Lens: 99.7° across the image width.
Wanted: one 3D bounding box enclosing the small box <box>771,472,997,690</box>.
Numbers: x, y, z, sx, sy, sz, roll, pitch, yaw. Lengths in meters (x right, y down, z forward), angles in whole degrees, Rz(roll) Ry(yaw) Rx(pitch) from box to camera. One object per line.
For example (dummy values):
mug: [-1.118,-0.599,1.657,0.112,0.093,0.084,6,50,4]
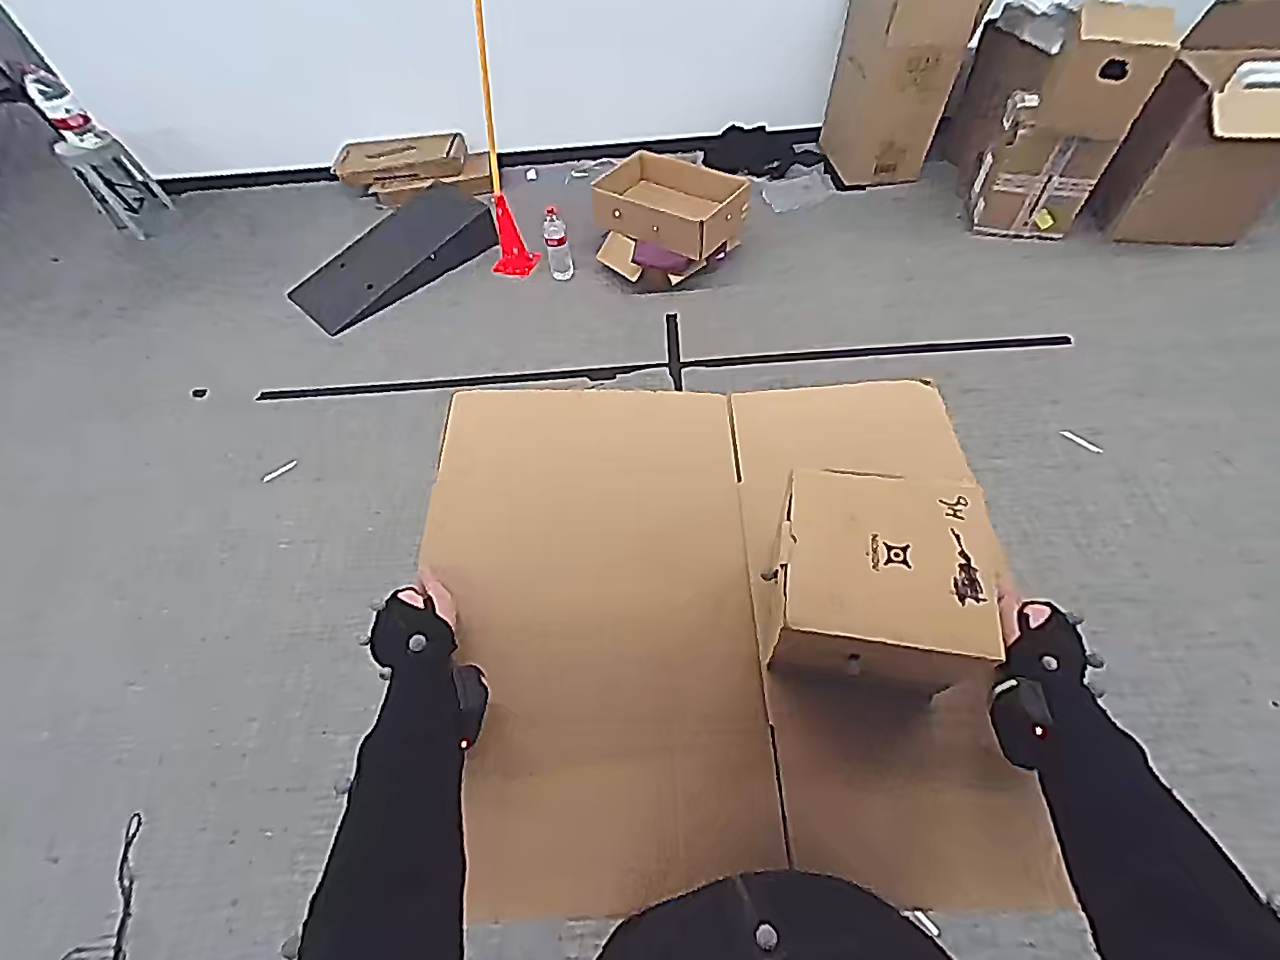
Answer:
small box: [0.233,0.110,0.563,0.179,0.176,0.168,6,61,12]
